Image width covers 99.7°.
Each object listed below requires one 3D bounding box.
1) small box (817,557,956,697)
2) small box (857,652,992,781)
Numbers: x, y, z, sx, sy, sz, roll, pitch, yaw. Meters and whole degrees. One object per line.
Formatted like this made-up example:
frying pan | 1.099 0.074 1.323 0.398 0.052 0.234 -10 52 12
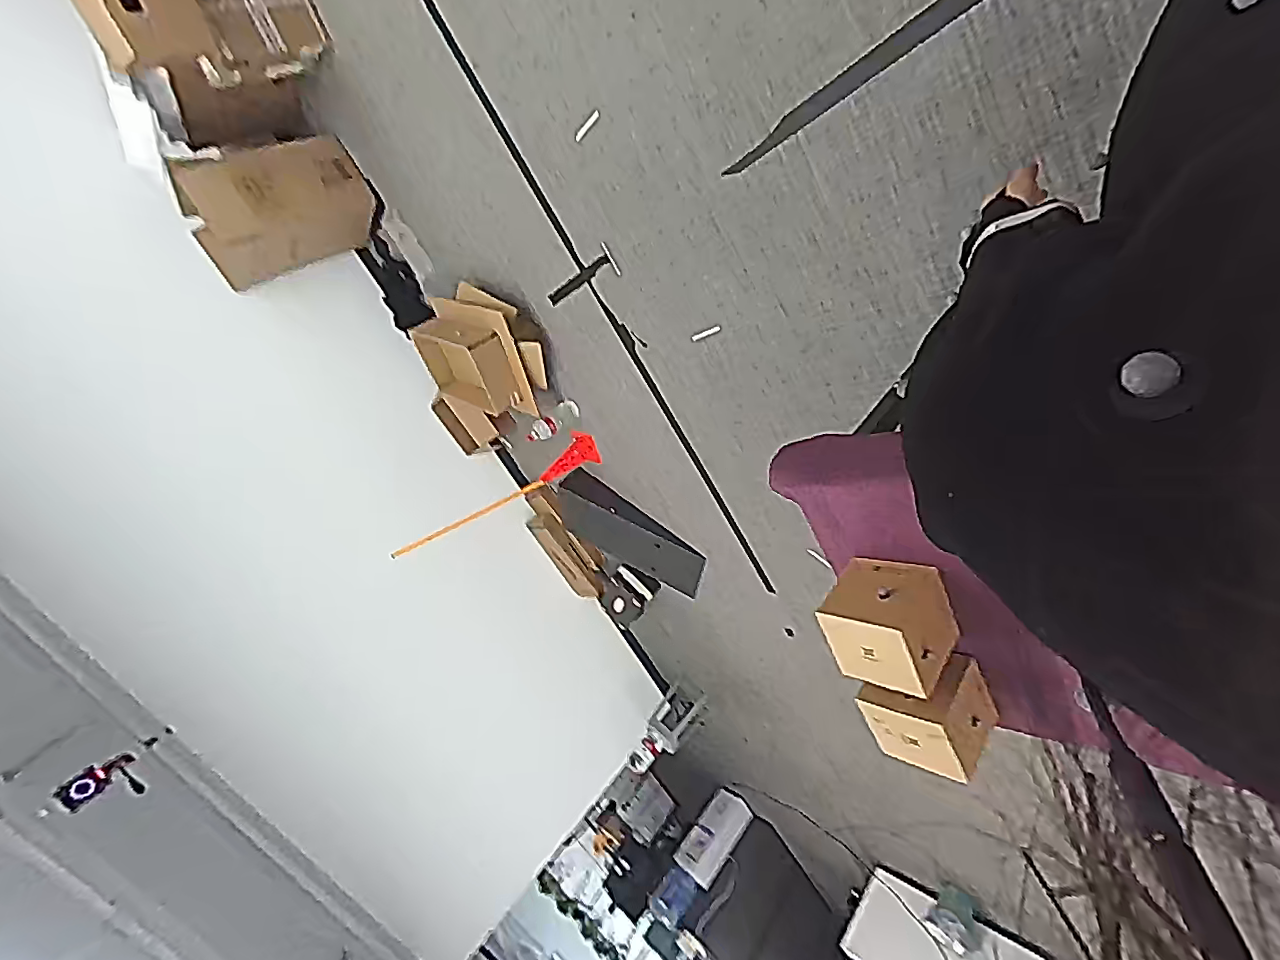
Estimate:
small box | 0.471 0.266 1.026 0.168 0.176 0.179 0 126 52
small box | 0.578 0.453 1.087 0.179 0.176 0.168 -4 121 55
